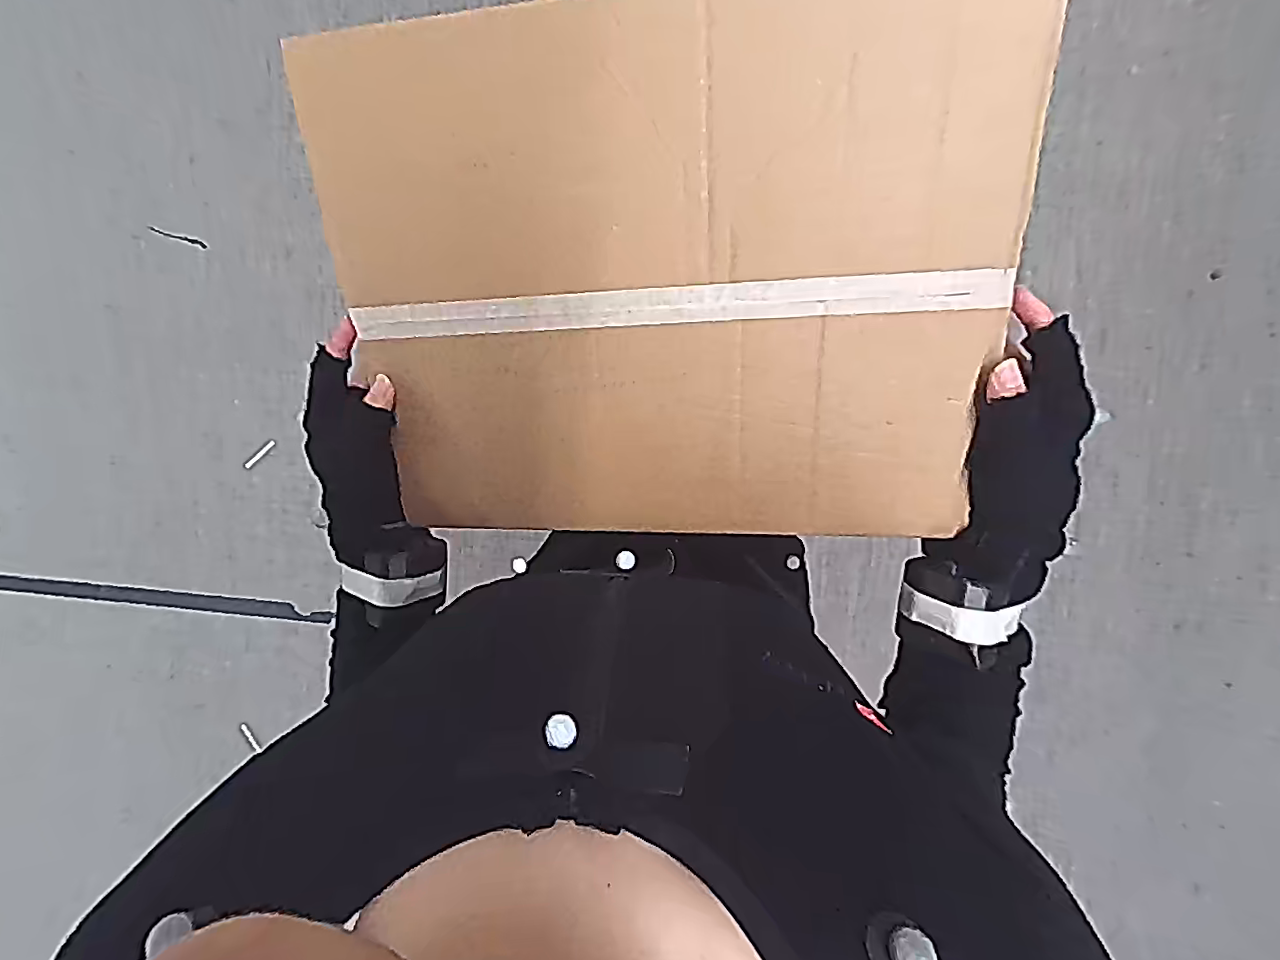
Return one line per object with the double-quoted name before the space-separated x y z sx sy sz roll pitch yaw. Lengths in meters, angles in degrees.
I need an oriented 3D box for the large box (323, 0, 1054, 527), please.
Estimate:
"large box" 0.035 -0.165 0.479 0.408 0.320 0.320 1 113 10
